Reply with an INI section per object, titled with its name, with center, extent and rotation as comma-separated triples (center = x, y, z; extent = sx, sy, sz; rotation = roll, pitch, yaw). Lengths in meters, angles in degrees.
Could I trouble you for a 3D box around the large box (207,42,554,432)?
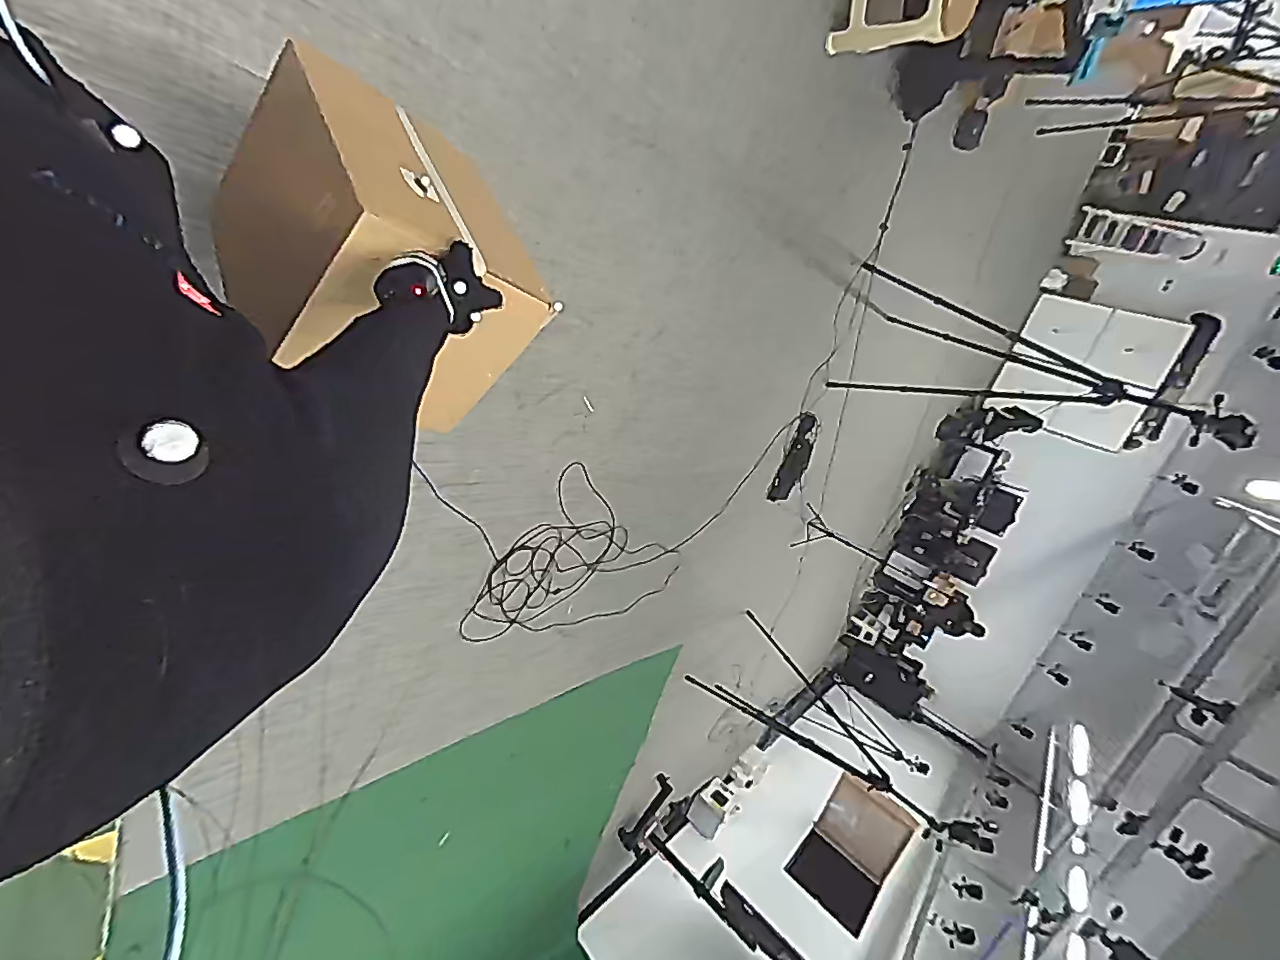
[large box]
center = -0.411, -0.342, 0.849
extent = 0.320, 0.408, 0.320
rotation = -40, 155, 24
